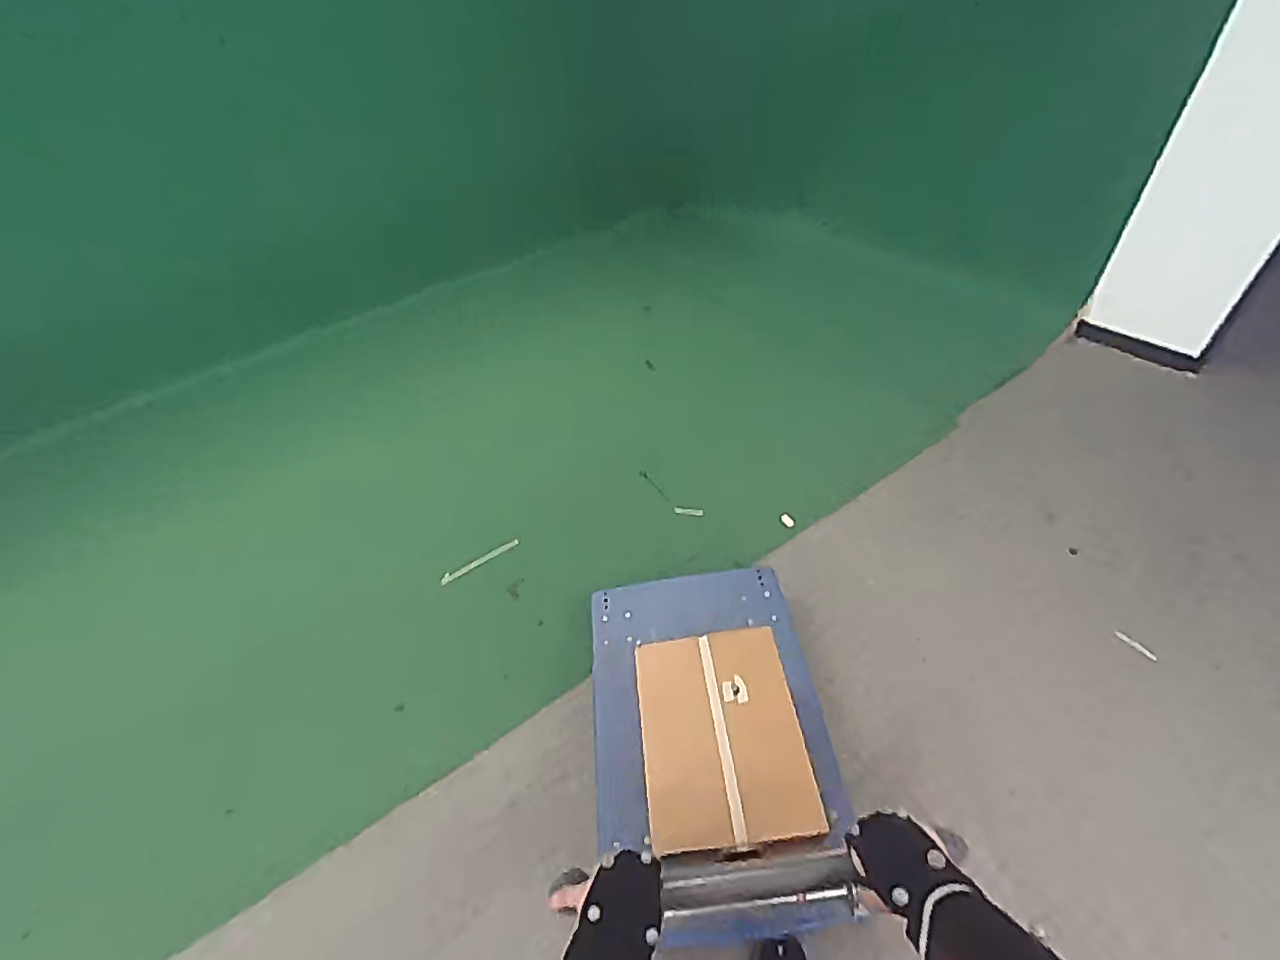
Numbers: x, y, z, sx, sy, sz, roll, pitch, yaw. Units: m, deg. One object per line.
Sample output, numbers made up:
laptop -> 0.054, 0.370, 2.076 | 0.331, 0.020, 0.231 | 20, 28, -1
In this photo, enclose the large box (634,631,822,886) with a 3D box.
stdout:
large box -> 0.176, 0.612, 1.202 | 0.320, 0.320, 0.408 | -8, 43, 1
